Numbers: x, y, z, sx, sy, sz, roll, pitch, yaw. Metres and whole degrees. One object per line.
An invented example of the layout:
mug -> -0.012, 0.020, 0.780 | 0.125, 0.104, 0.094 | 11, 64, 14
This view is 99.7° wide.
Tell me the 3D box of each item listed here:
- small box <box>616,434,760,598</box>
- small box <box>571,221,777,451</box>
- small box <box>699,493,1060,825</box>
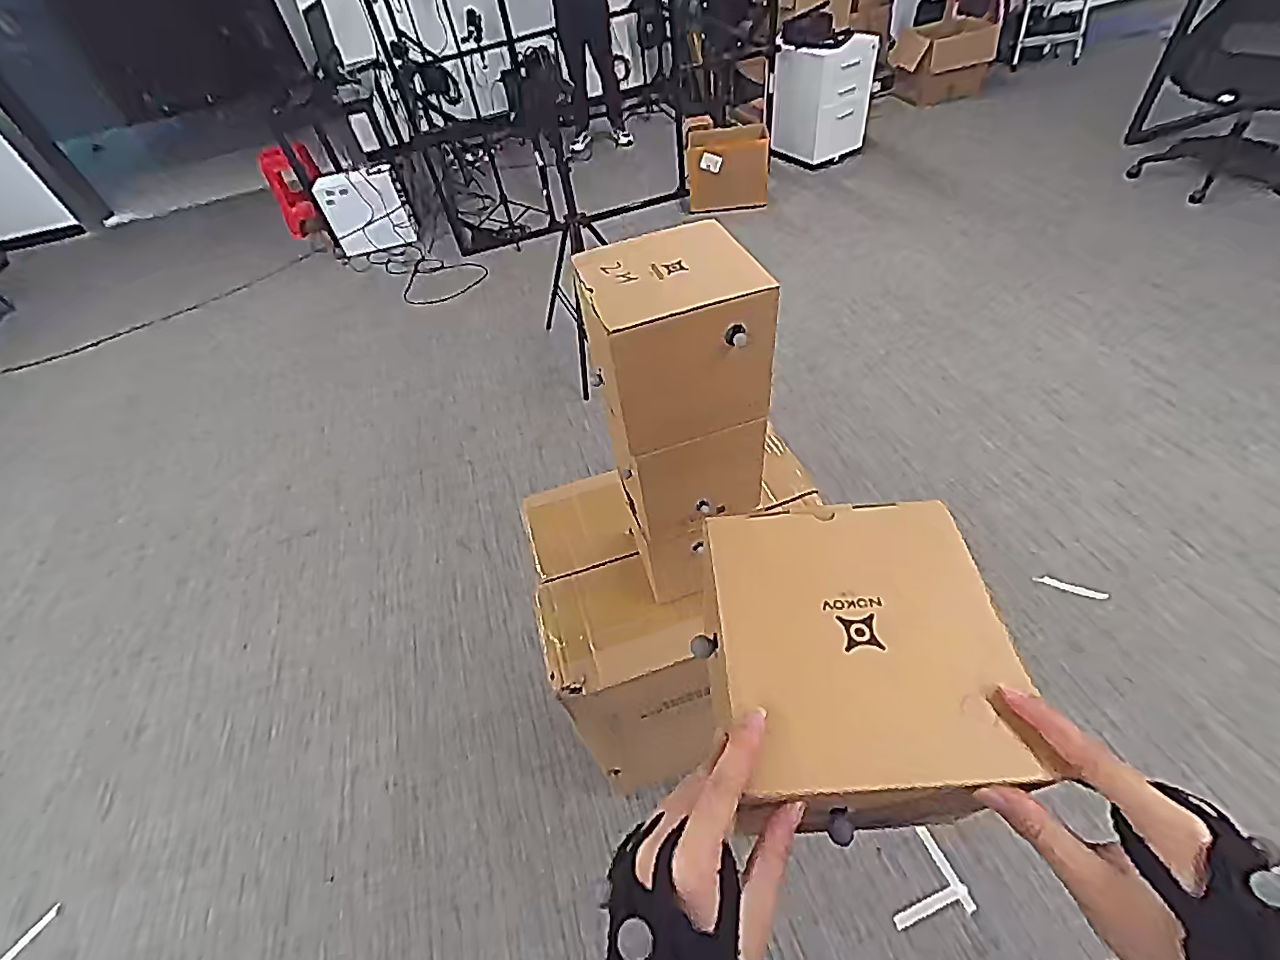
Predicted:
small box -> 0.077, 0.061, 0.856 | 0.179, 0.176, 0.168 | -17, 48, -6
small box -> 0.036, -0.162, 0.616 | 0.179, 0.176, 0.168 | -17, 48, -6
small box -> 0.134, 0.134, 0.385 | 0.168, 0.176, 0.179 | -5, 49, 3
